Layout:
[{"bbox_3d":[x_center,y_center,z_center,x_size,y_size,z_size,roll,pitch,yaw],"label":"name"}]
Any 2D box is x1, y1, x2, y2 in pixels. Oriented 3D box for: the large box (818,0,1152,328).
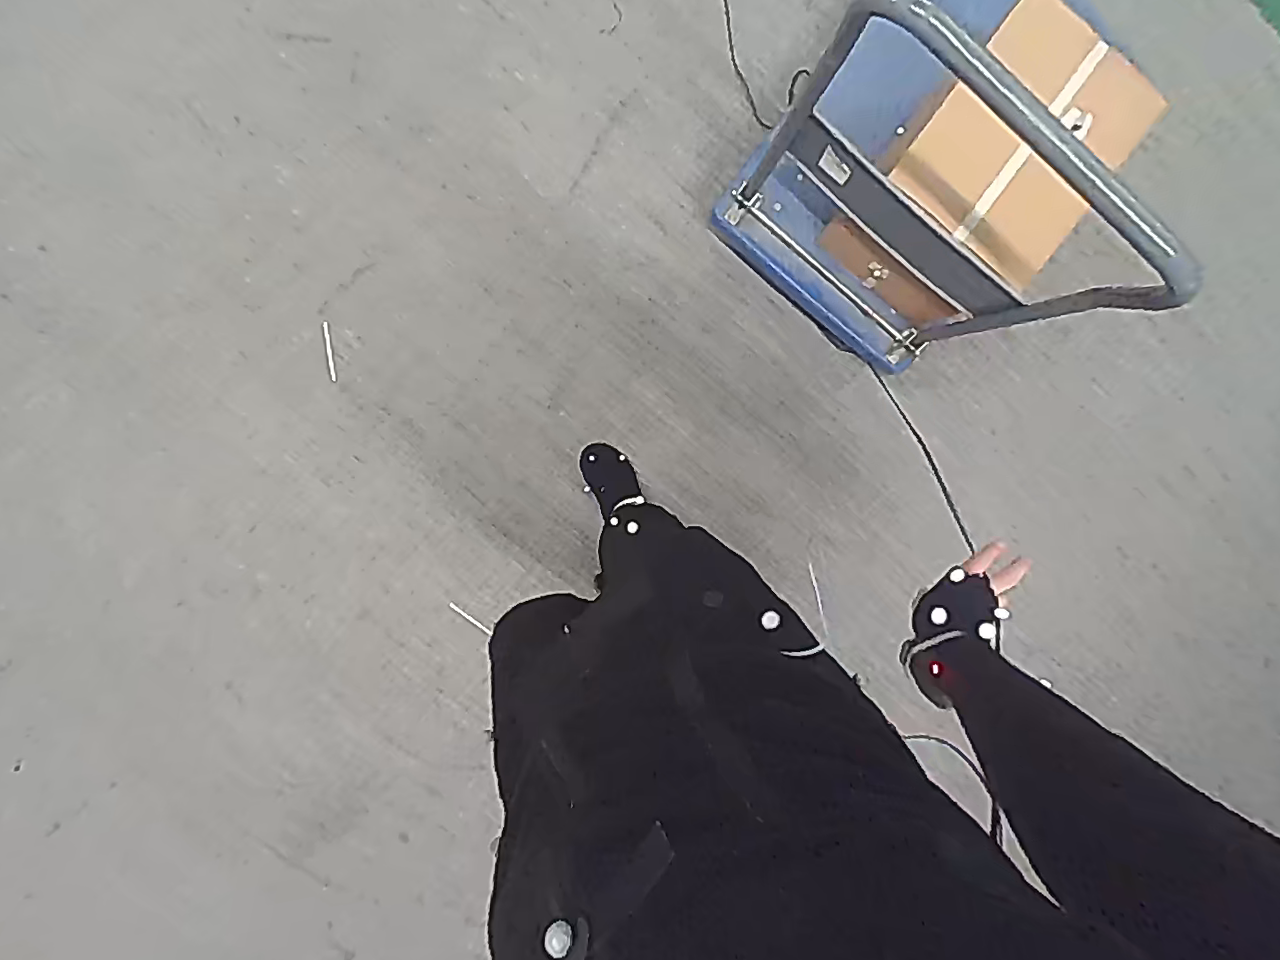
[{"bbox_3d":[0.634,-0.576,1.064,0.320,0.320,0.408,37,91,-7],"label":"large box"}]
